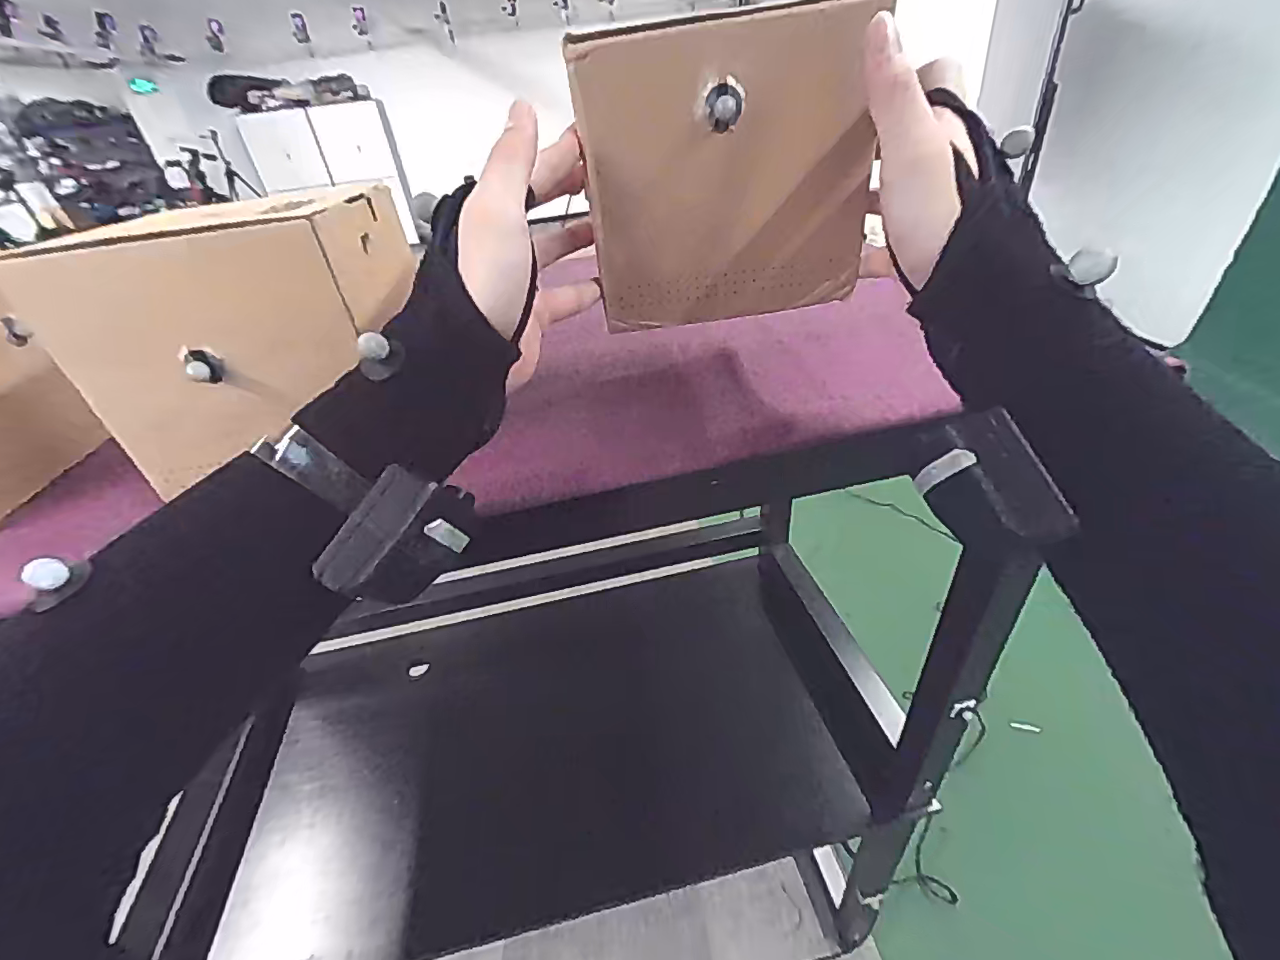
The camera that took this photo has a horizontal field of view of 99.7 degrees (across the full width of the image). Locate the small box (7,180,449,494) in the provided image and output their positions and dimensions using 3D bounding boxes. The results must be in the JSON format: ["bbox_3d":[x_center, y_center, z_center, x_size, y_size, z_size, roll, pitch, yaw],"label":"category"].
[{"bbox_3d":[-0.264,-0.111,0.411,0.179,0.176,0.168,-10,35,-1],"label":"small box"}]

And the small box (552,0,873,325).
[{"bbox_3d":[0.045,-0.226,0.396,0.179,0.176,0.168,-7,40,2],"label":"small box"}]
